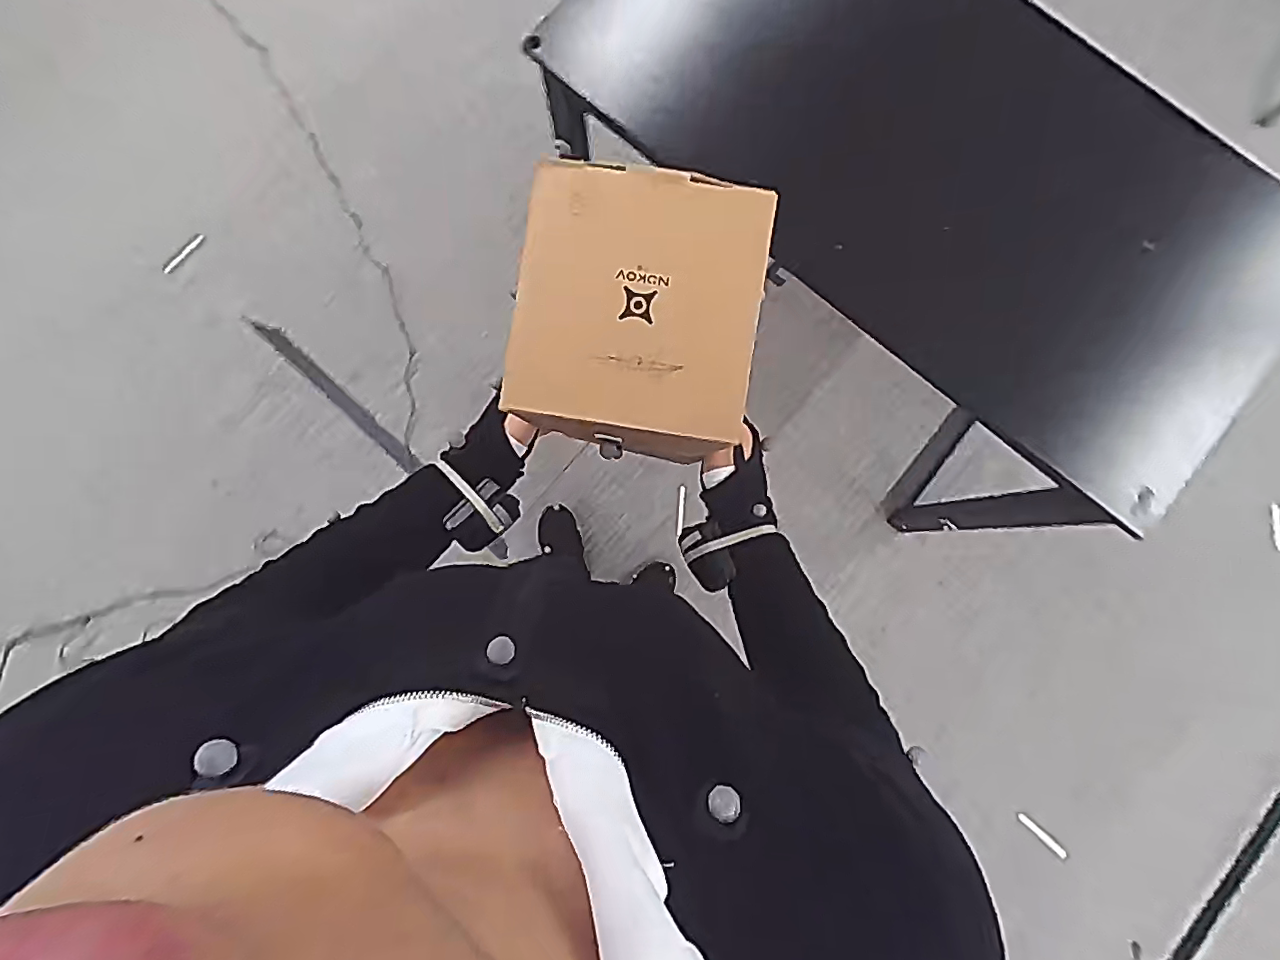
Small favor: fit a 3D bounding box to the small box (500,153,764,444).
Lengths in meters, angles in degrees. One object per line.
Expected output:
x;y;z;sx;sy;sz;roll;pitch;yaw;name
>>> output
-0.006;-0.130;0.451;0.168;0.176;0.179;7;91;0;small box
